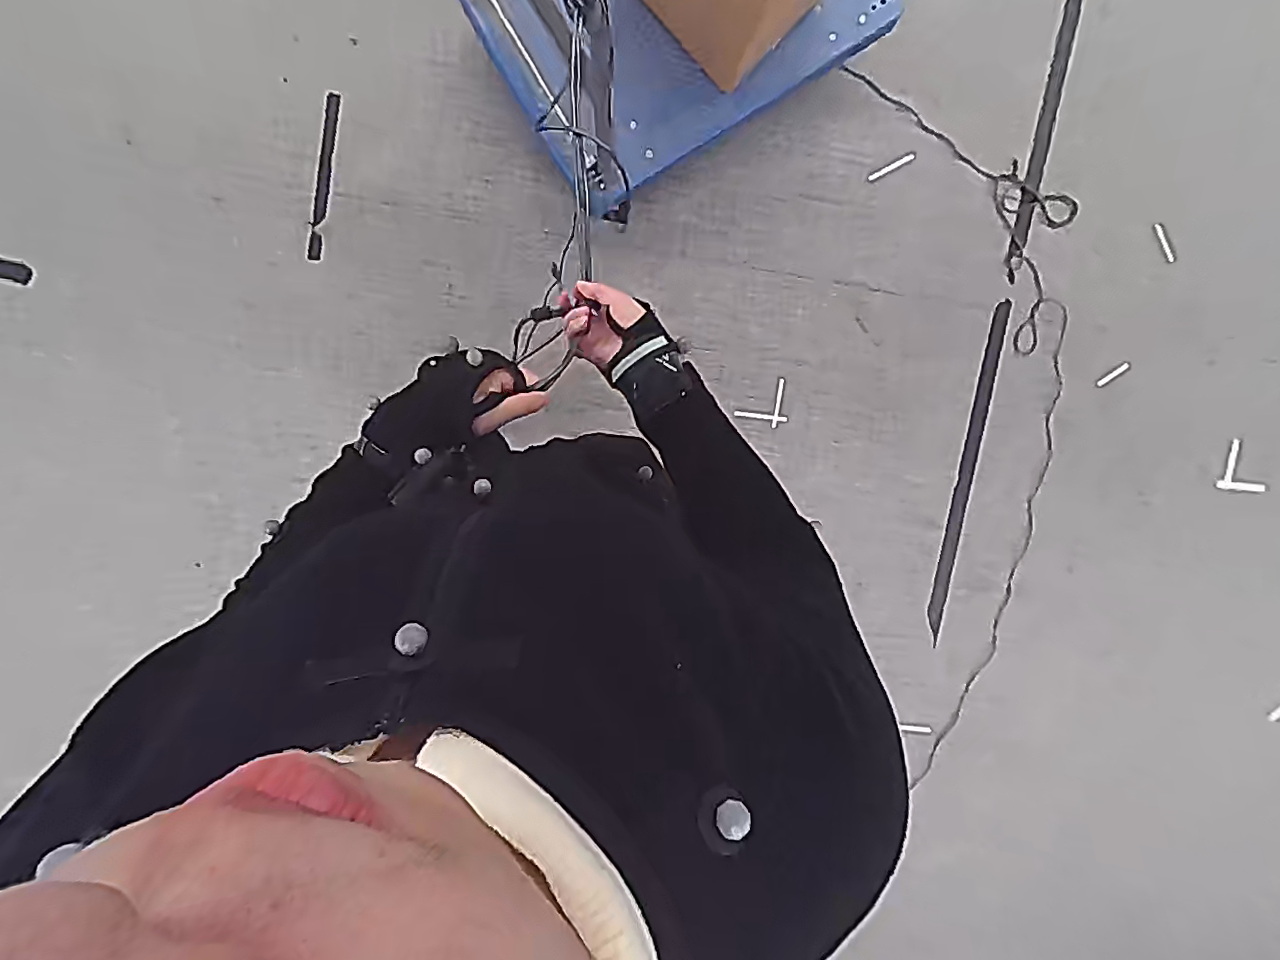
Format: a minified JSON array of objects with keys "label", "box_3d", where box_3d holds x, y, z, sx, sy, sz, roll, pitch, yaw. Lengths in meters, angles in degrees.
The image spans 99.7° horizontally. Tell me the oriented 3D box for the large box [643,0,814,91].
[{"label":"large box","box_3d":[0.172,-1.101,1.050,0.408,0.320,0.320,43,92,-9]}]
